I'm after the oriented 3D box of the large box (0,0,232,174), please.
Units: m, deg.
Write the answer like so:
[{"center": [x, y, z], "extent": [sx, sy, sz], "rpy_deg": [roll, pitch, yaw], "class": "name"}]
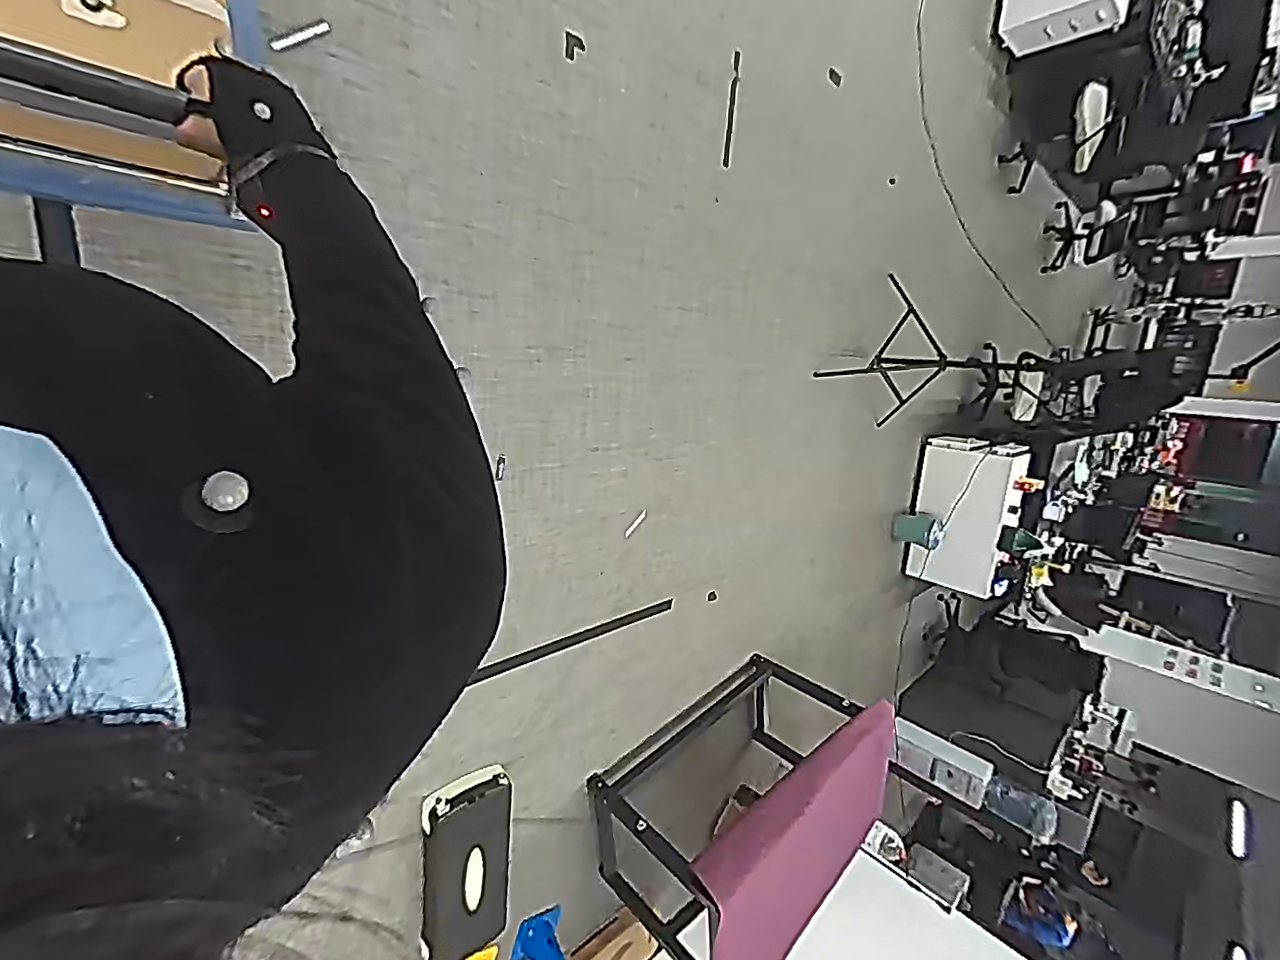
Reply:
[{"center": [-0.838, -0.663, 0.732], "extent": [0.408, 0.320, 0.320], "rpy_deg": [-7, 107, -43], "class": "large box"}]
